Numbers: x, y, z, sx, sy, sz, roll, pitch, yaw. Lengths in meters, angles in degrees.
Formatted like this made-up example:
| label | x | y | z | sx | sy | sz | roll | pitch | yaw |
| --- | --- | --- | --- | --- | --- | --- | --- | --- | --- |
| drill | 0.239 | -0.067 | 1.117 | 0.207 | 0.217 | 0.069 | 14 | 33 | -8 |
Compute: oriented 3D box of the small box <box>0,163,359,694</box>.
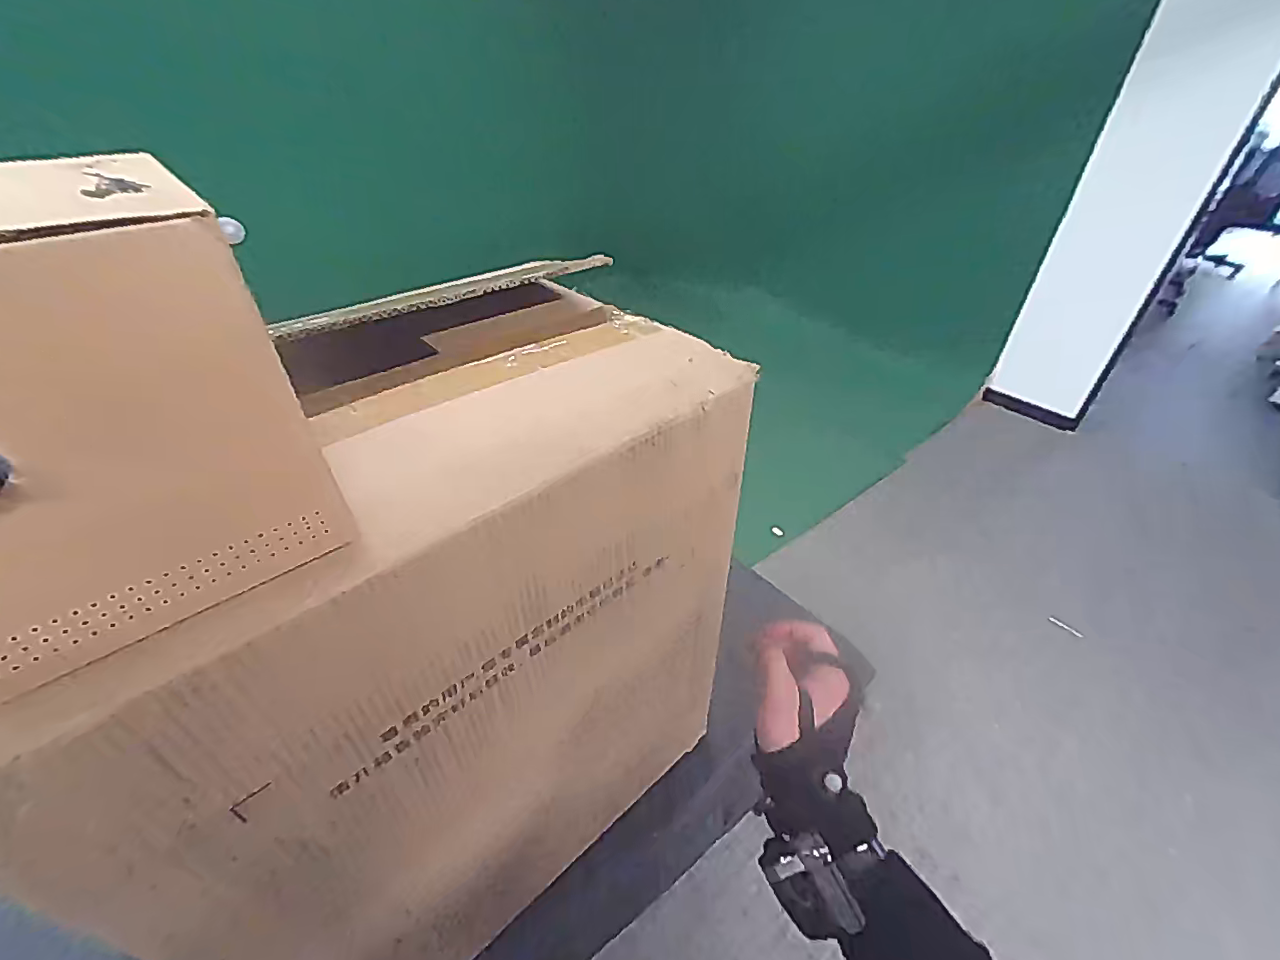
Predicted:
| label | x | y | z | sx | sy | sz | roll | pitch | yaw |
| --- | --- | --- | --- | --- | --- | --- | --- | --- | --- |
| small box | -0.272 | -0.033 | 0.256 | 0.179 | 0.176 | 0.168 | -30 | 49 | -30 |
